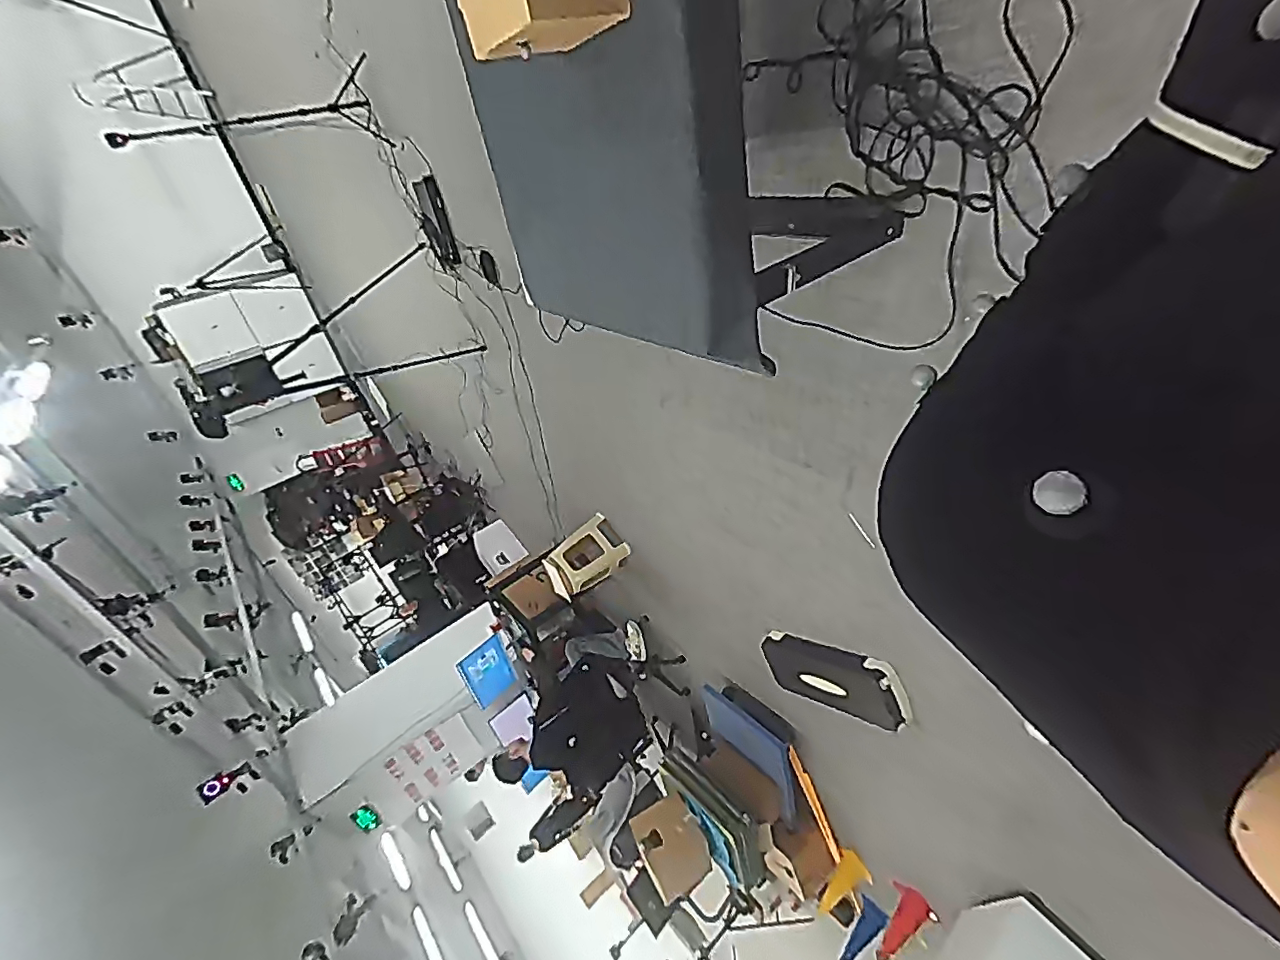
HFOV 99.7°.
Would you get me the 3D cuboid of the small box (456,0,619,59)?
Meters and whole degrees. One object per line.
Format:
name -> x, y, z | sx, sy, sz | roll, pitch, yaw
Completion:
small box -> -0.143, -0.692, 0.718 | 0.179, 0.176, 0.168 | 25, 139, 47
